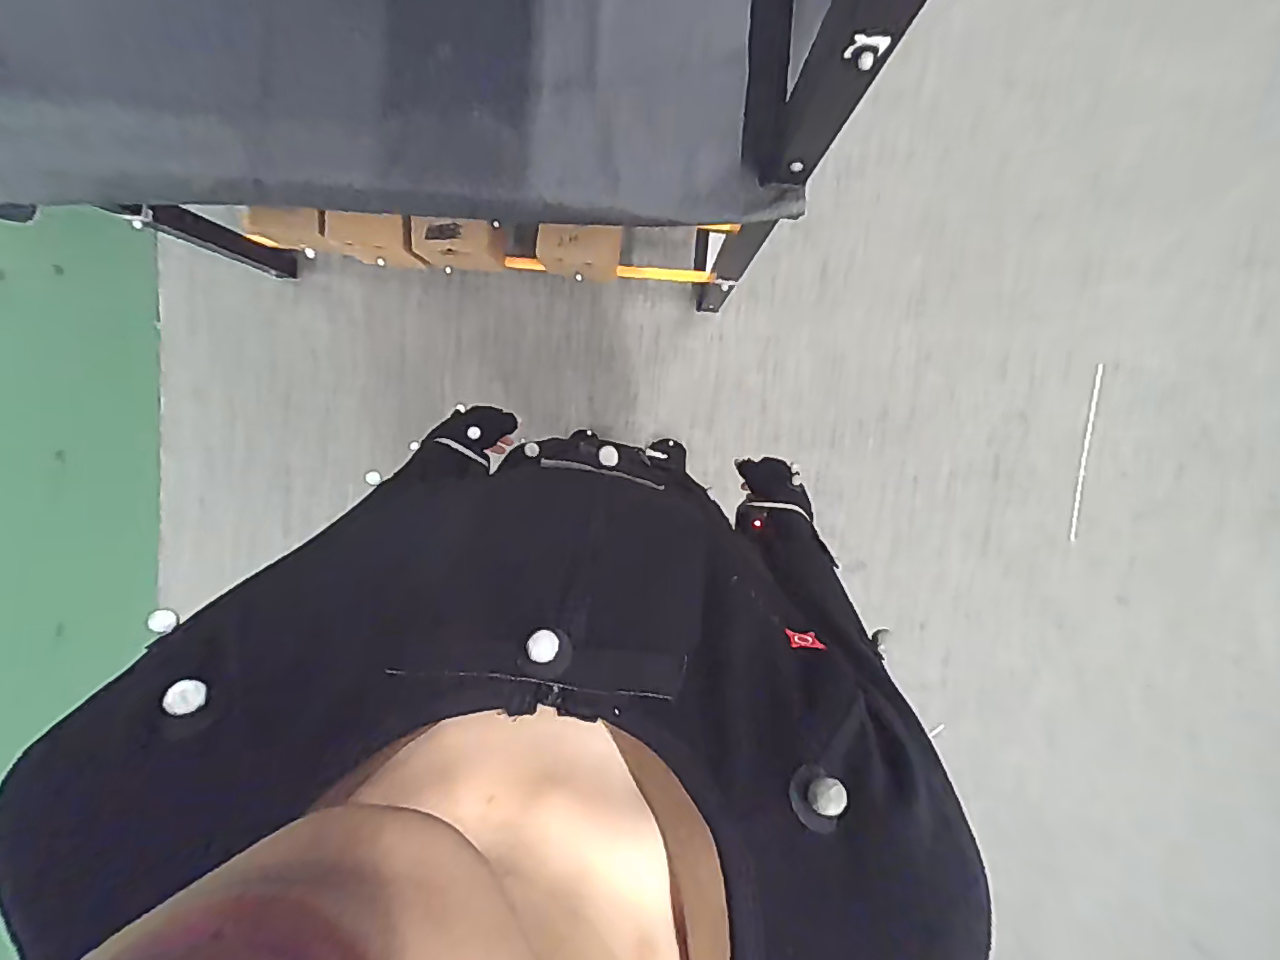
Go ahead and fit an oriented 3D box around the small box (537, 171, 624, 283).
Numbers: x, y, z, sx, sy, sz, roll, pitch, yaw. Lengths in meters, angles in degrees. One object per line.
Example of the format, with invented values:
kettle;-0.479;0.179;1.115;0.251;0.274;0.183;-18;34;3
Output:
small box;-0.129;-0.572;1.244;0.168;0.176;0.179;9;98;0
